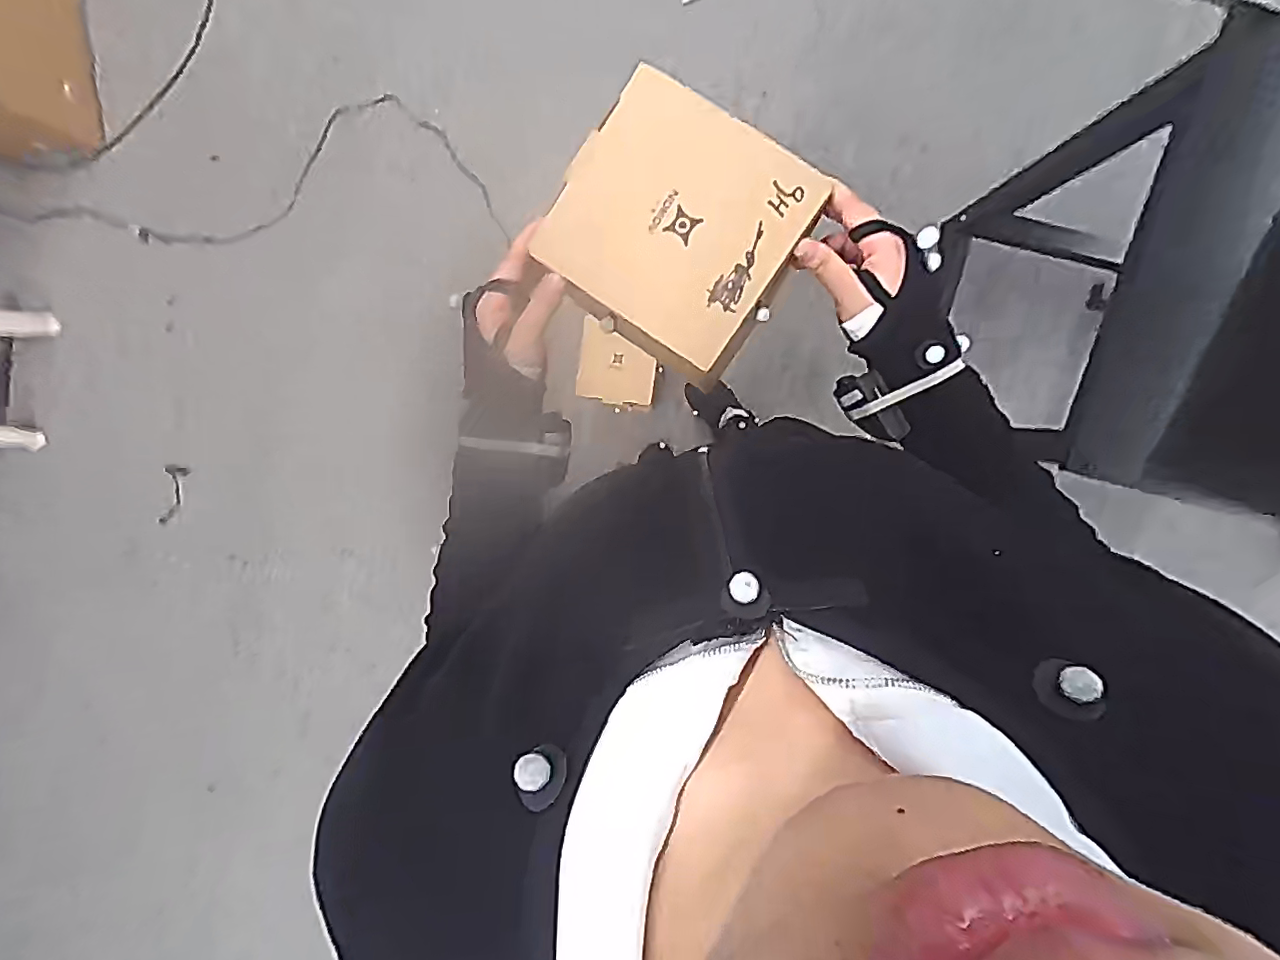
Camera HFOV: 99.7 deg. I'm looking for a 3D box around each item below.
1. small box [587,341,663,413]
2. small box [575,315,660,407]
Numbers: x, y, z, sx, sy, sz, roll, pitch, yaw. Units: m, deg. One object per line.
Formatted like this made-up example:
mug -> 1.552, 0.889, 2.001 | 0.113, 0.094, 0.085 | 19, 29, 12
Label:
small box -> -0.037, -0.274, 1.389 | 0.168, 0.176, 0.179 | 11, 98, 1
small box -> -0.045, -0.262, 1.228 | 0.168, 0.176, 0.179 | 7, 95, 1
